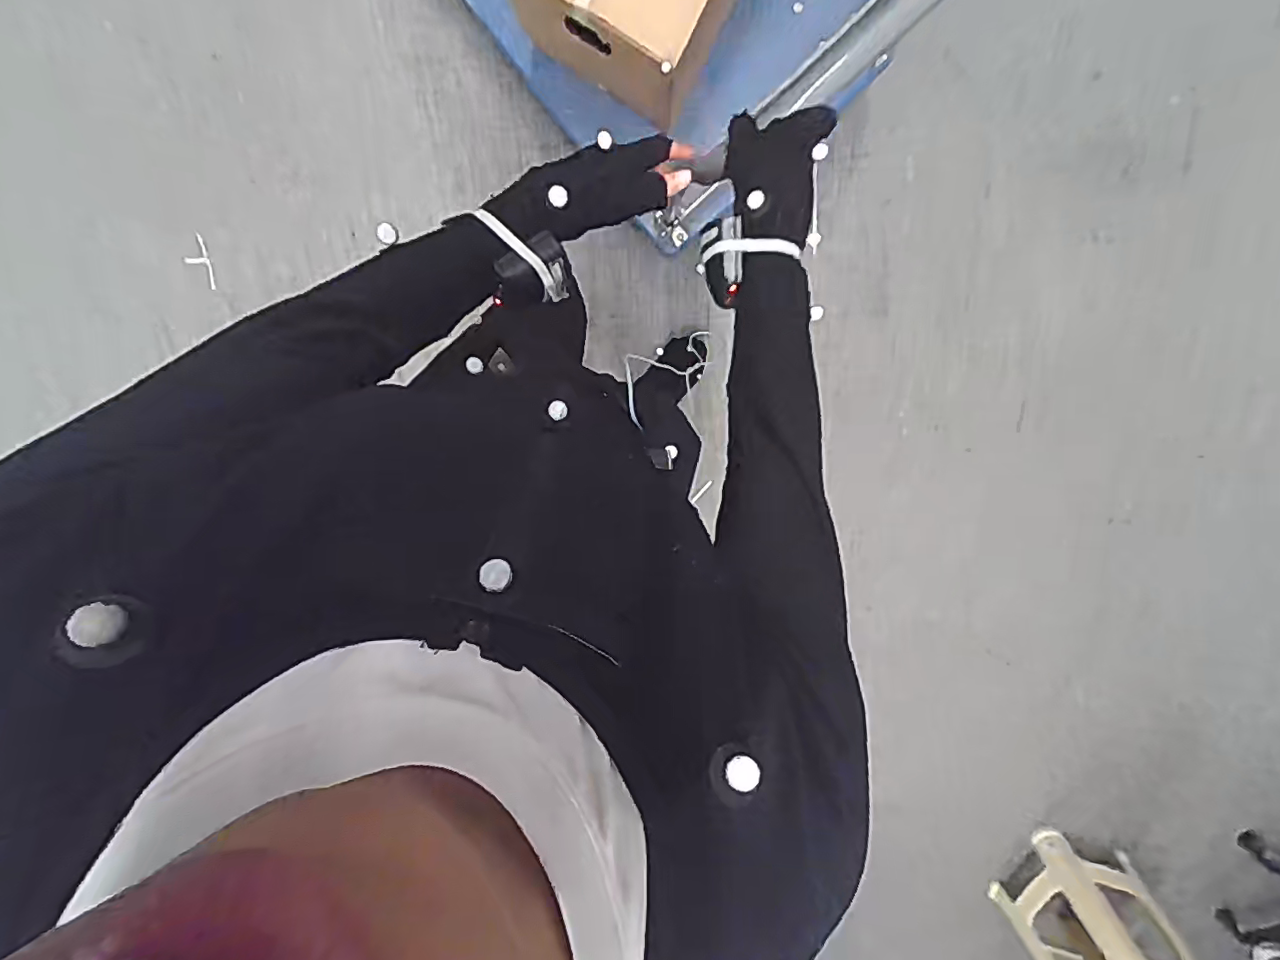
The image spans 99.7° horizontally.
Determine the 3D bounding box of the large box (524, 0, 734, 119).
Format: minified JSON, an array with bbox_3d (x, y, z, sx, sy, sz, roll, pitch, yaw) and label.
[{"bbox_3d":[0.028,-0.894,0.854,0.320,0.320,0.408,28,109,-6],"label":"large box"}]
